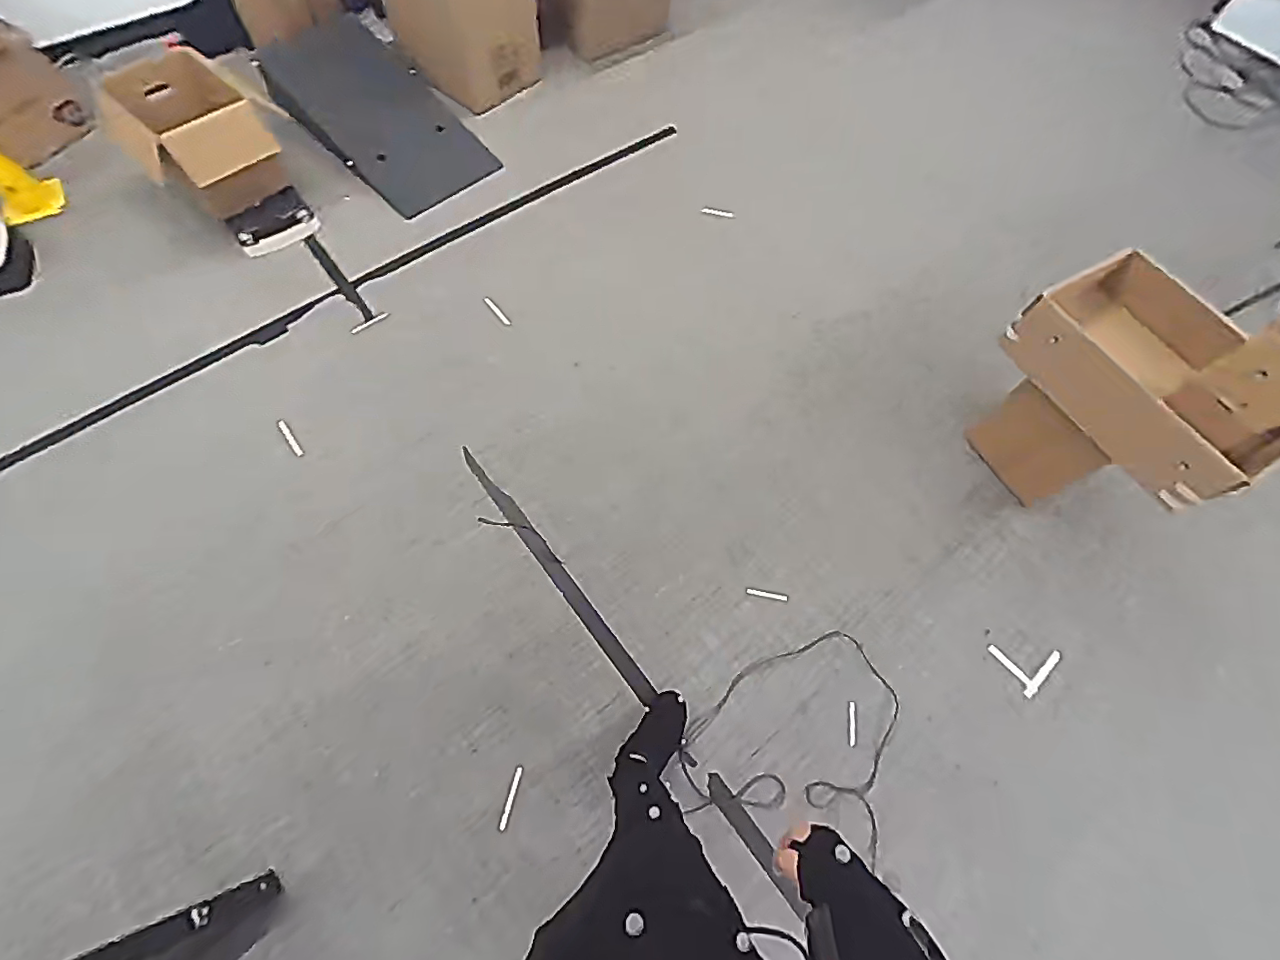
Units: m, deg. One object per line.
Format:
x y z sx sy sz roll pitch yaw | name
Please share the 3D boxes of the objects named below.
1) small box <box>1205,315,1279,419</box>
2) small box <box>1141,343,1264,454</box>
1.396 -0.259 1.163 0.179 0.176 0.168 -29 70 -16 | small box
1.386 -0.191 1.310 0.179 0.176 0.168 -29 70 -16 | small box
